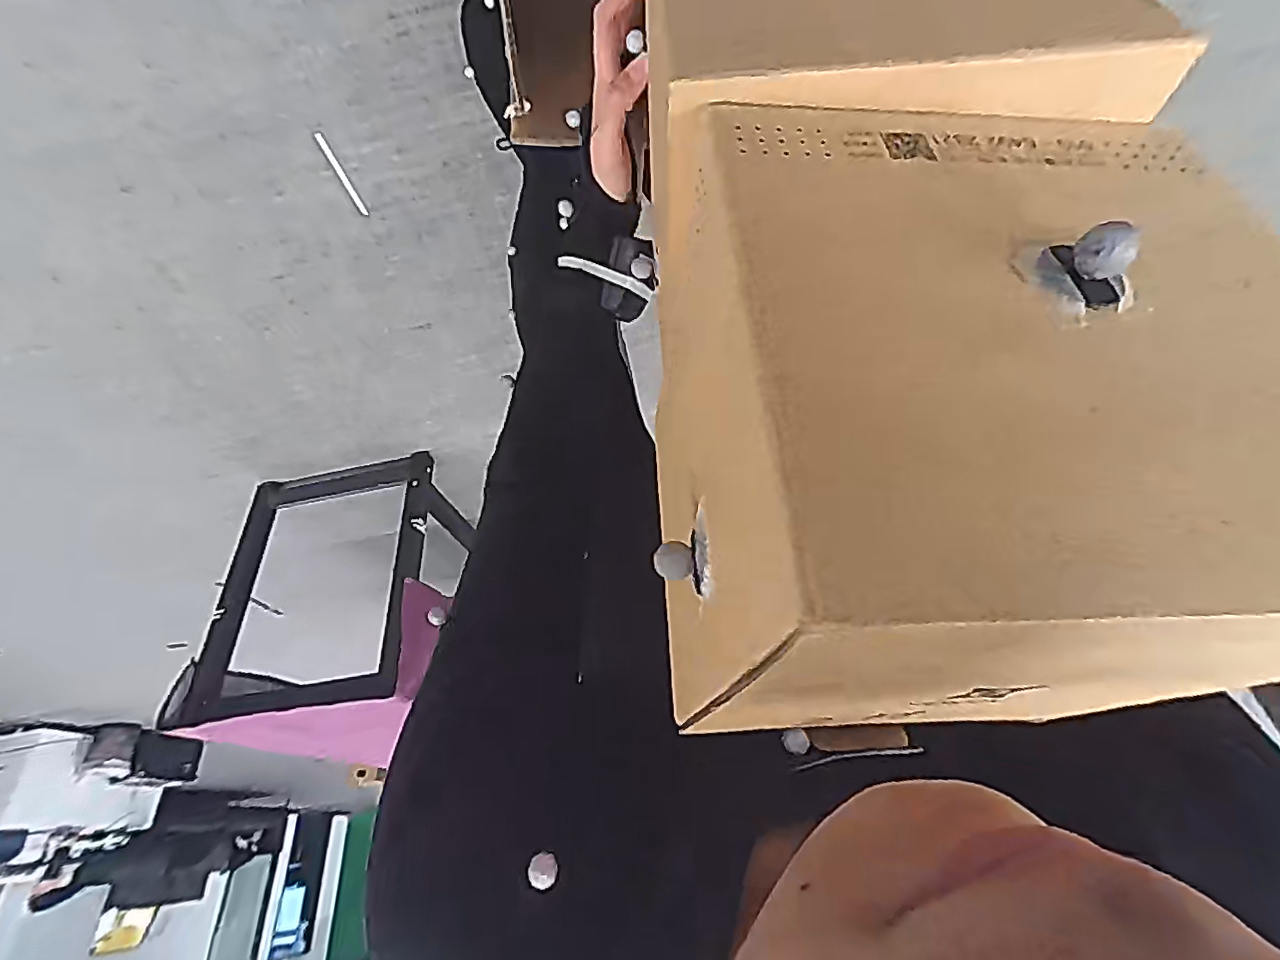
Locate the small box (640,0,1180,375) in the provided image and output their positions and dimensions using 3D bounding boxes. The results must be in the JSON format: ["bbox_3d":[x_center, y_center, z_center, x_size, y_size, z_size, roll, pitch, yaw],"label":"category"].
[{"bbox_3d":[0.086,-0.160,0.278,0.168,0.176,0.179,-3,150,1],"label":"small box"}]

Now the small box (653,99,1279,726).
[{"bbox_3d":[0.096,-0.011,0.207,0.168,0.176,0.179,0,150,-4],"label":"small box"}]
